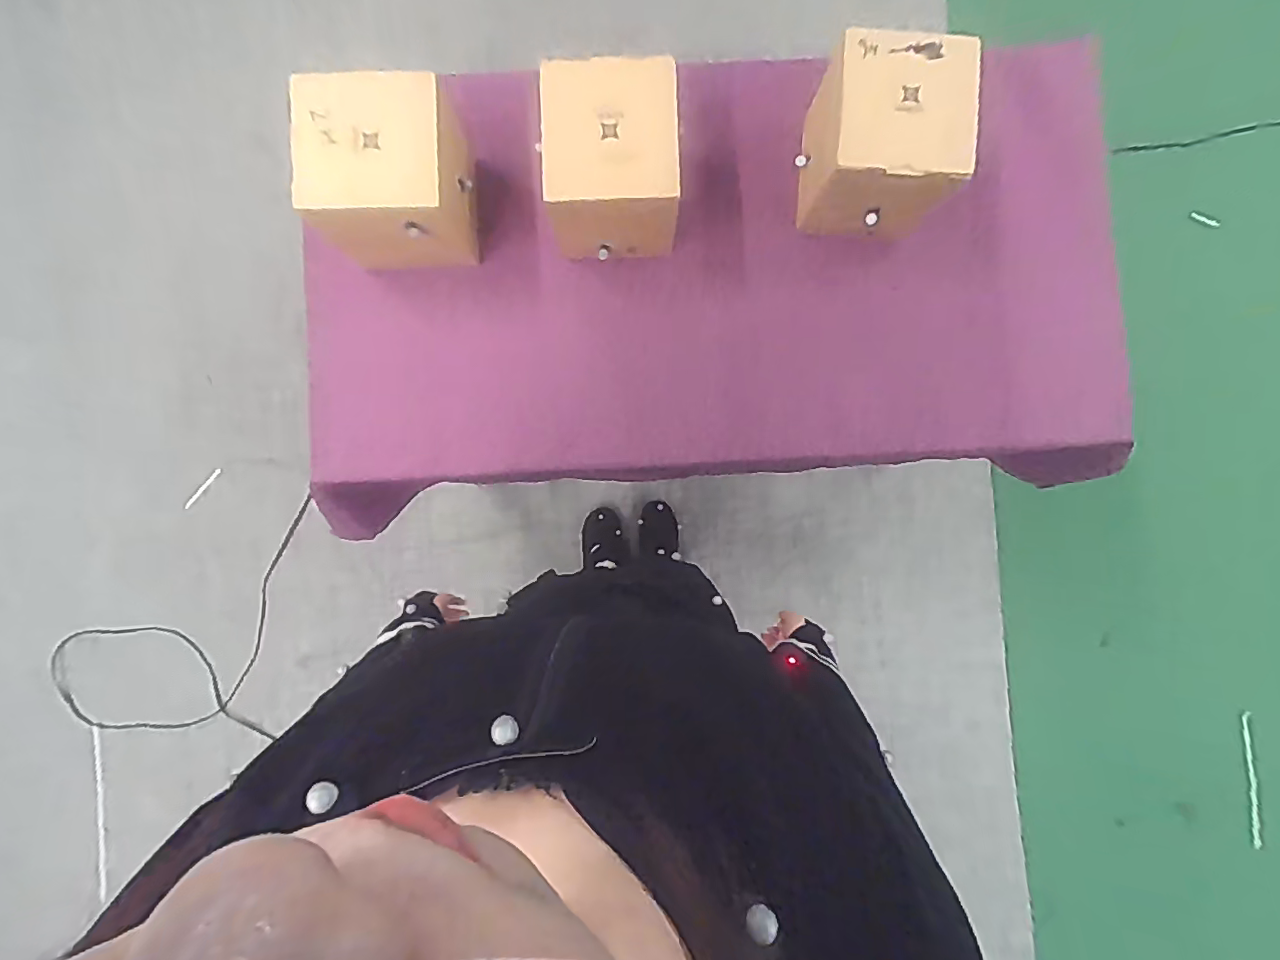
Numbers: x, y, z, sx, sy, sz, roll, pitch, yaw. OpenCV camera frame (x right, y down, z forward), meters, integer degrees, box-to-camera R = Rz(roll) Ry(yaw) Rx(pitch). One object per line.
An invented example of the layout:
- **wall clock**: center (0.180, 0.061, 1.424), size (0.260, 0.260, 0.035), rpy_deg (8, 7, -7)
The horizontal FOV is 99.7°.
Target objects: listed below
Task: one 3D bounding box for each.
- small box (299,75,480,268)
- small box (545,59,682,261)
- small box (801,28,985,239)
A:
- **small box**: center (-0.319, -0.399, 0.724), size (0.179, 0.176, 0.168), rpy_deg (-1, 88, 0)
- **small box**: center (-0.032, -0.417, 0.726), size (0.168, 0.176, 0.179), rpy_deg (-1, 88, 1)
- **small box**: center (0.323, -0.446, 0.724), size (0.168, 0.176, 0.179), rpy_deg (5, 89, 0)
